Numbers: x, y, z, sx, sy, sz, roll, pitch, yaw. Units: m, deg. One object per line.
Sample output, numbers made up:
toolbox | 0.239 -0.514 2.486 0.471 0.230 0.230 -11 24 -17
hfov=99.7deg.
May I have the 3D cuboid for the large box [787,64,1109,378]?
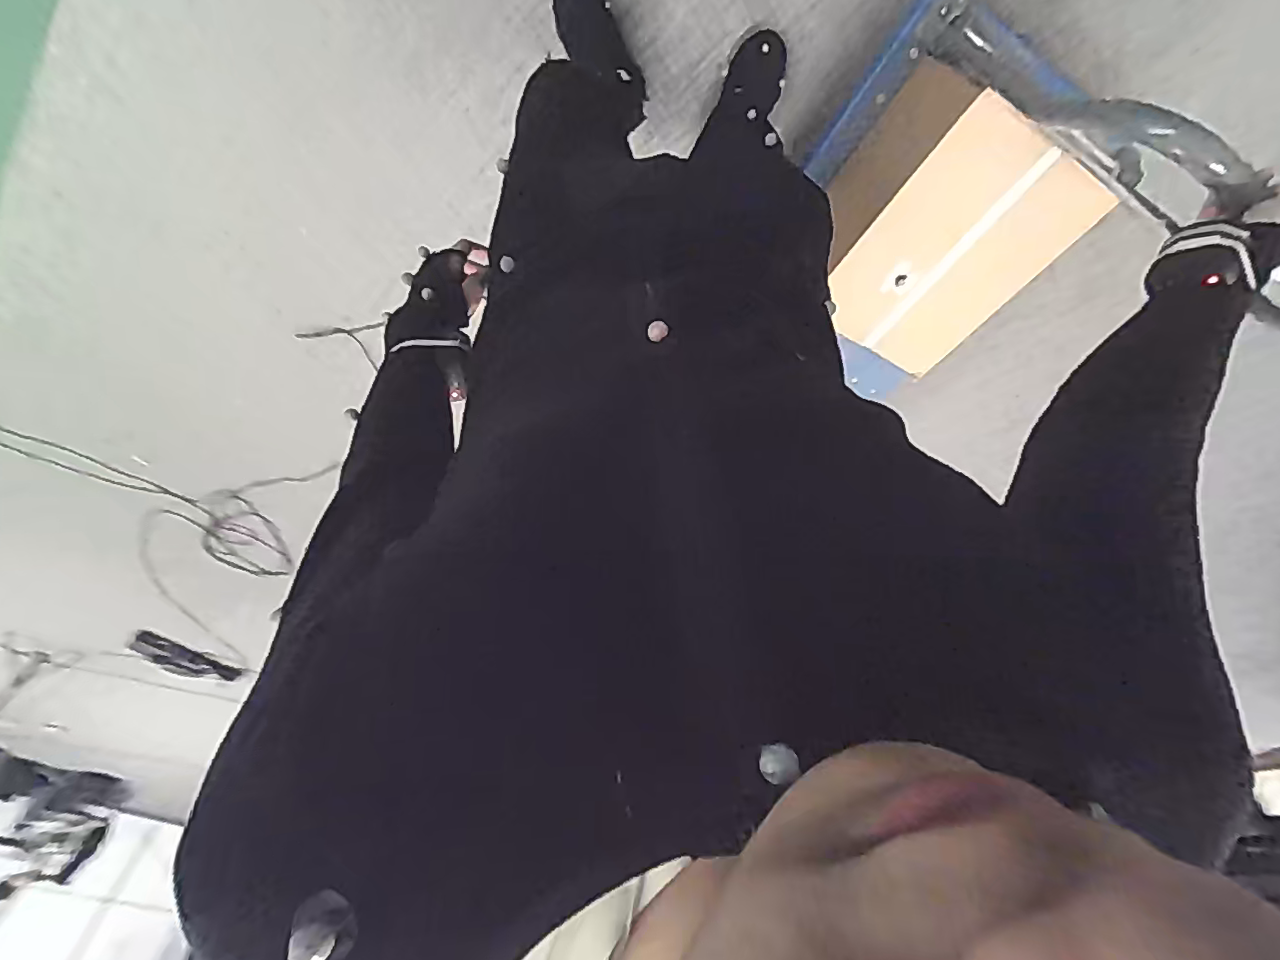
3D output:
large box | 0.549 -0.491 1.060 0.320 0.320 0.408 24 133 -16
